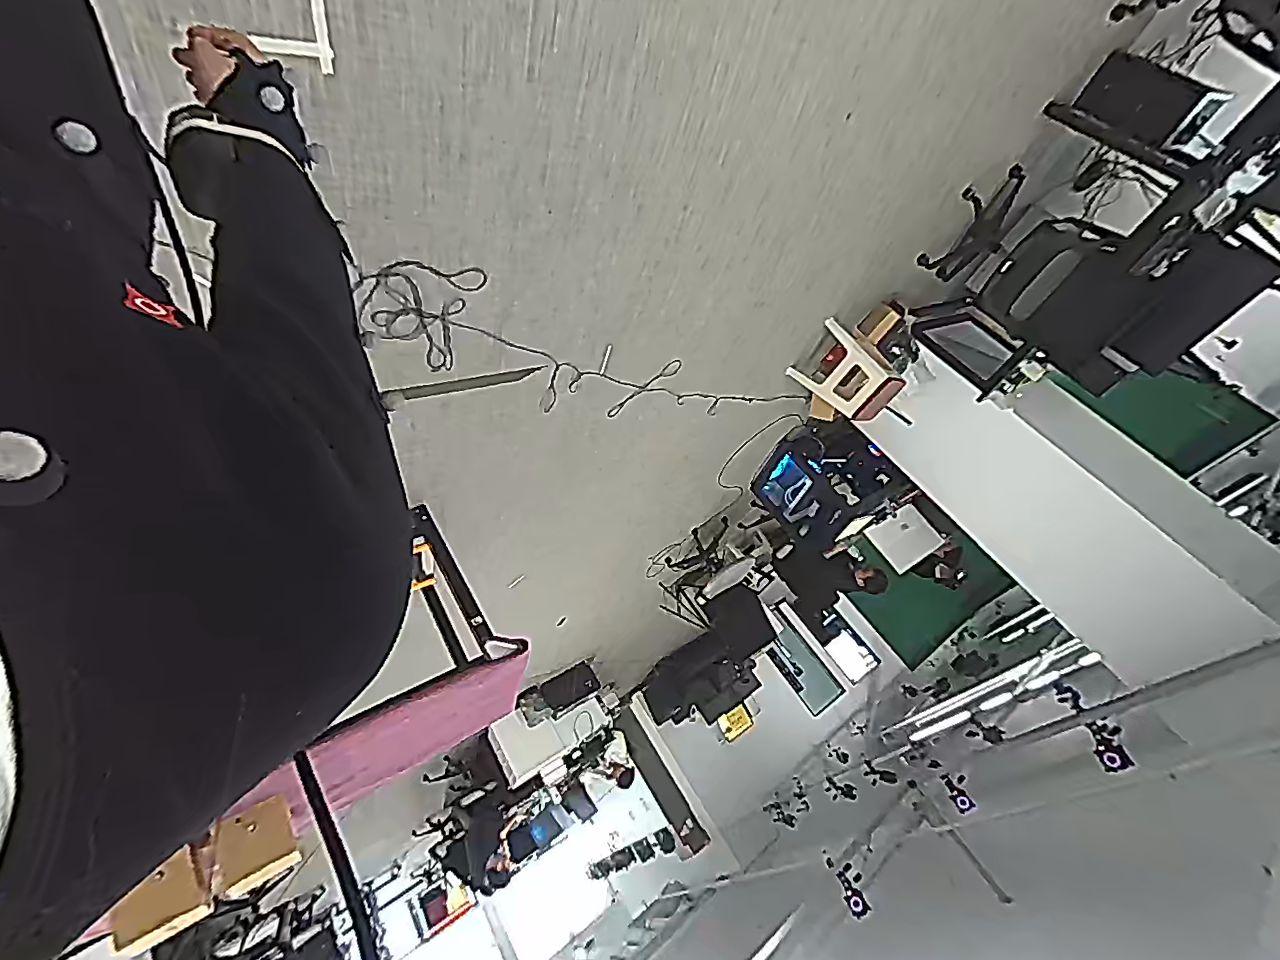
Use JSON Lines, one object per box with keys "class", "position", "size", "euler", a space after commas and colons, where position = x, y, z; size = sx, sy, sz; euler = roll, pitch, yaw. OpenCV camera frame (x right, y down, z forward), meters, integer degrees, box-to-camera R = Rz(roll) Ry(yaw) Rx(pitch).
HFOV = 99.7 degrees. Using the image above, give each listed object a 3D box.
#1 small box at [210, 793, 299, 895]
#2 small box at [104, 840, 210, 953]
{"class": "small box", "position": [-1.076, 1.013, 1.513], "size": [0.168, 0.176, 0.179], "euler": [-17, 149, -37]}
{"class": "small box", "position": [-1.241, 1.068, 1.394], "size": [0.168, 0.176, 0.179], "euler": [-17, 149, -37]}
